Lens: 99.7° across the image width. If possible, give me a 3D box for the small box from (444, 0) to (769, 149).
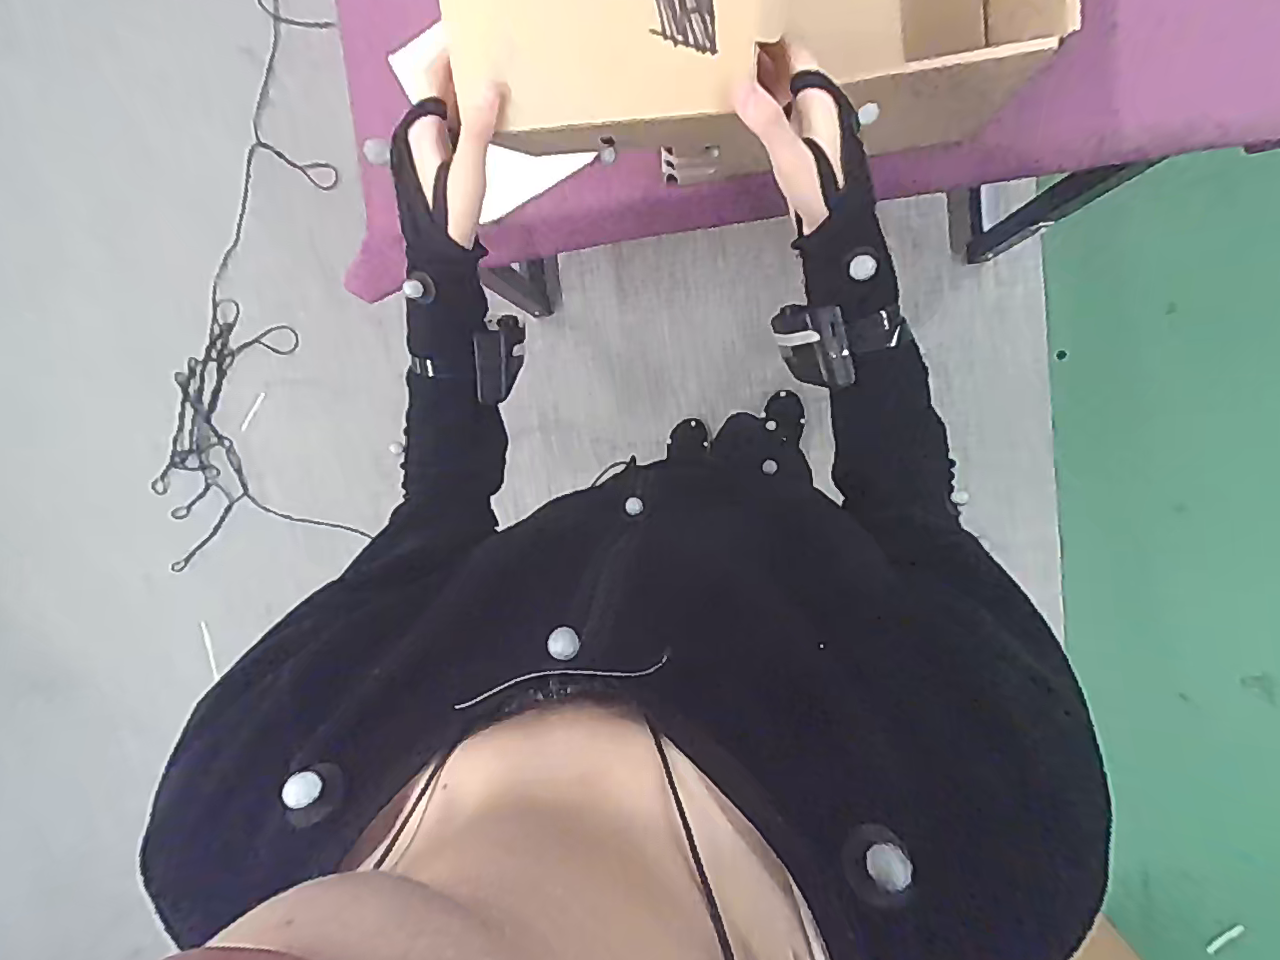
[{"bbox_3d":[-0.016,-0.317,0.345,0.179,0.176,0.168,-1,117,5],"label":"small box"}]
